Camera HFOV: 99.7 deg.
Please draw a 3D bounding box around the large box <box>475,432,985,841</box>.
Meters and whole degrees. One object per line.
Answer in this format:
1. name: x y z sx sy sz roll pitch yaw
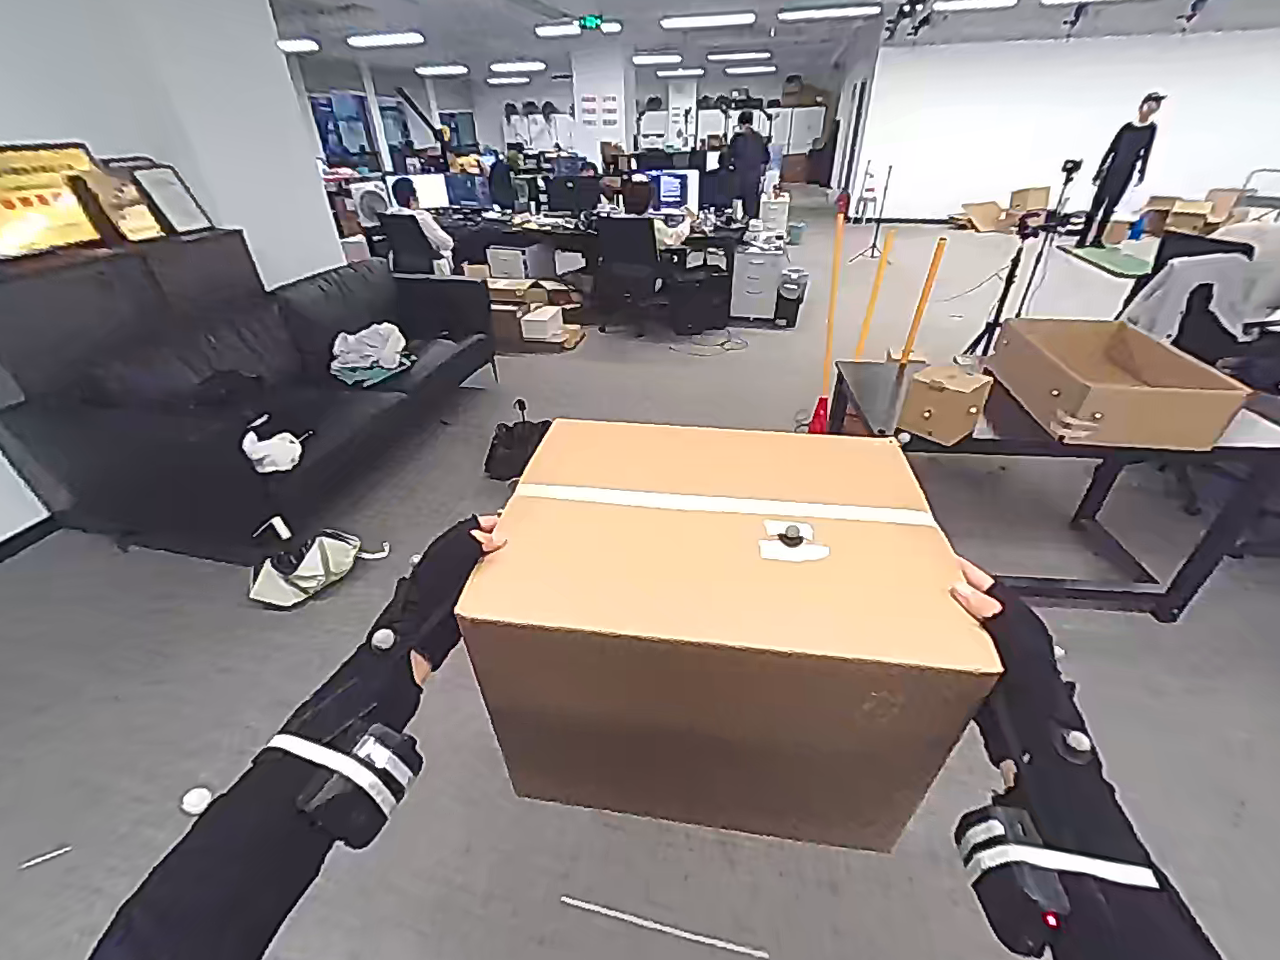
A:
1. large box: 0.077 0.161 0.622 0.408 0.320 0.320 4 36 6
